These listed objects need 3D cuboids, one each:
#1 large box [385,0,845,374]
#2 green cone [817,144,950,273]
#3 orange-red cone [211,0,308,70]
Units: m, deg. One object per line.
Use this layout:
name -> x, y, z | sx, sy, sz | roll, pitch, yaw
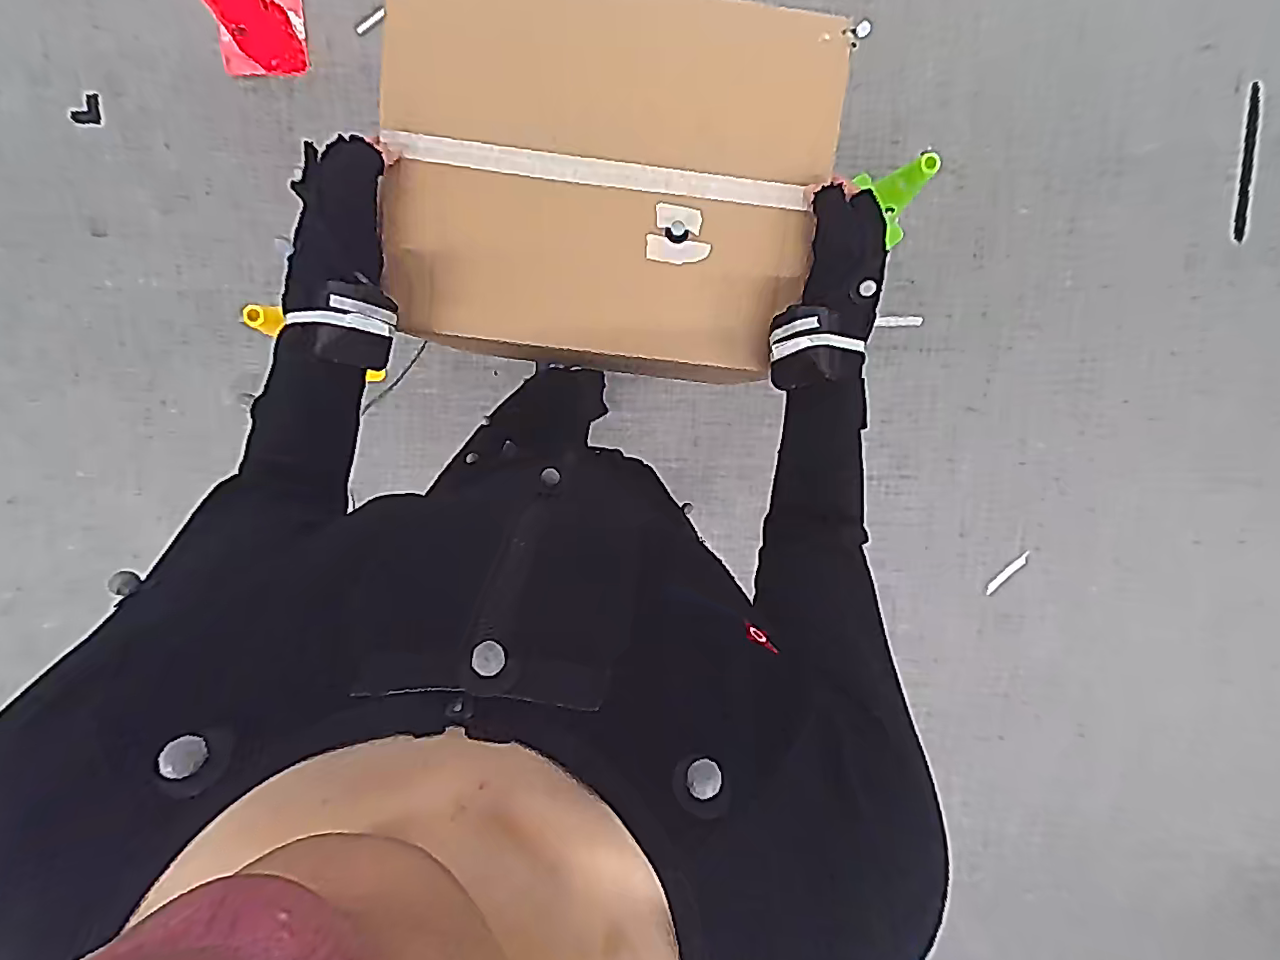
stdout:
large box -> -0.035, -0.307, 0.639 | 0.408, 0.320, 0.320 | 6, 98, -4
green cone -> 0.571, -0.647, 1.228 | 0.202, 0.368, 0.200 | -36, 97, 1
orange-red cone -> -0.903, -1.074, 1.134 | 0.198, 0.360, 0.199 | -1, 98, -1
